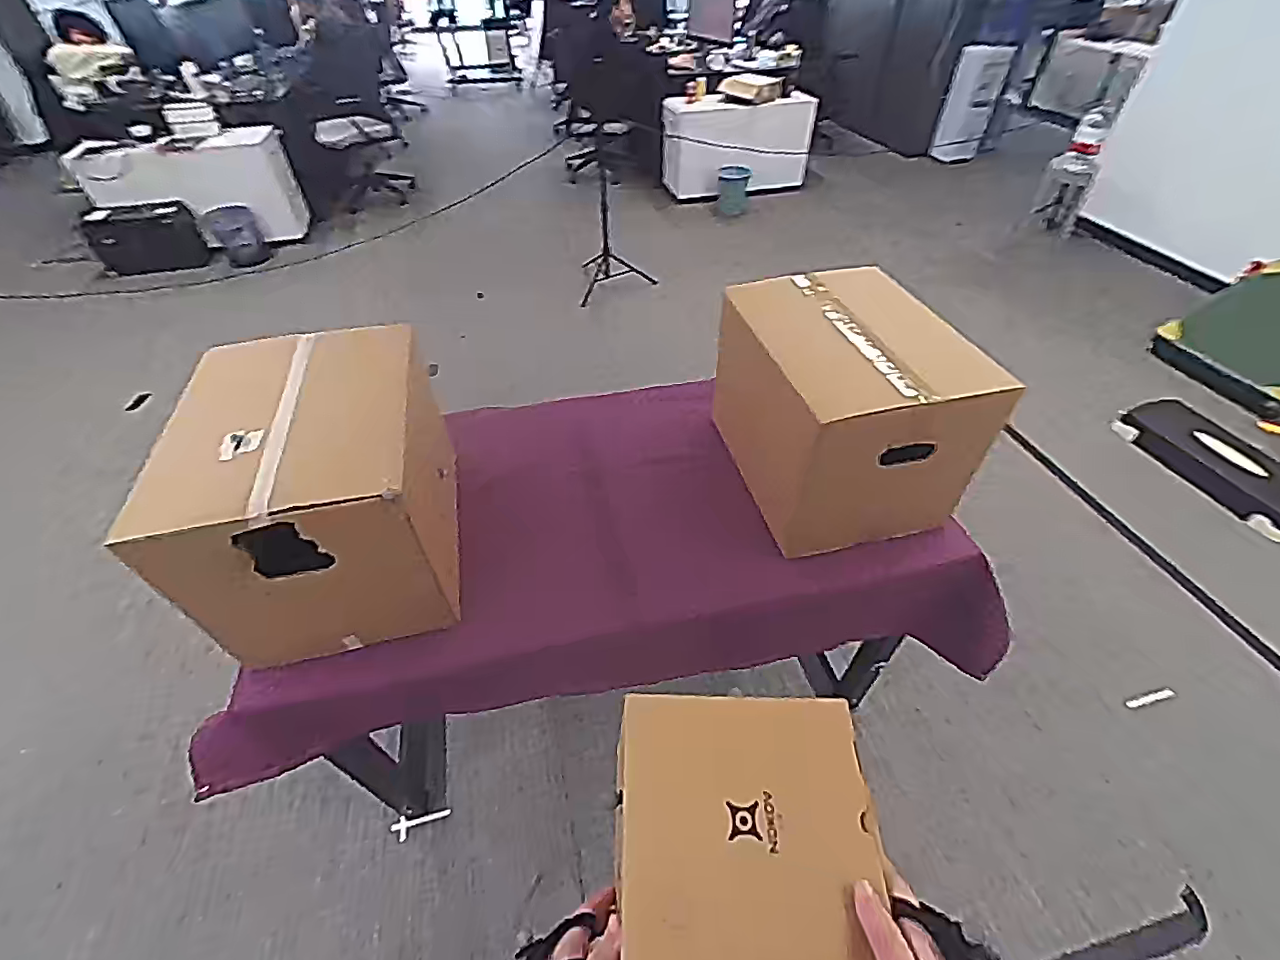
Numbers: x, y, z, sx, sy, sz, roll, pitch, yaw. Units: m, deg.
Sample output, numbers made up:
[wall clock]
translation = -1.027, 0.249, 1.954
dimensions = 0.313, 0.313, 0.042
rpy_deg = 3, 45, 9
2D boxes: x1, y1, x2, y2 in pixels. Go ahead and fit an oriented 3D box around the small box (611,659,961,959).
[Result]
[small box]
translation = 0.090, 0.261, 0.394
dimensions = 0.168, 0.176, 0.179
rpy_deg = 14, 30, -18
